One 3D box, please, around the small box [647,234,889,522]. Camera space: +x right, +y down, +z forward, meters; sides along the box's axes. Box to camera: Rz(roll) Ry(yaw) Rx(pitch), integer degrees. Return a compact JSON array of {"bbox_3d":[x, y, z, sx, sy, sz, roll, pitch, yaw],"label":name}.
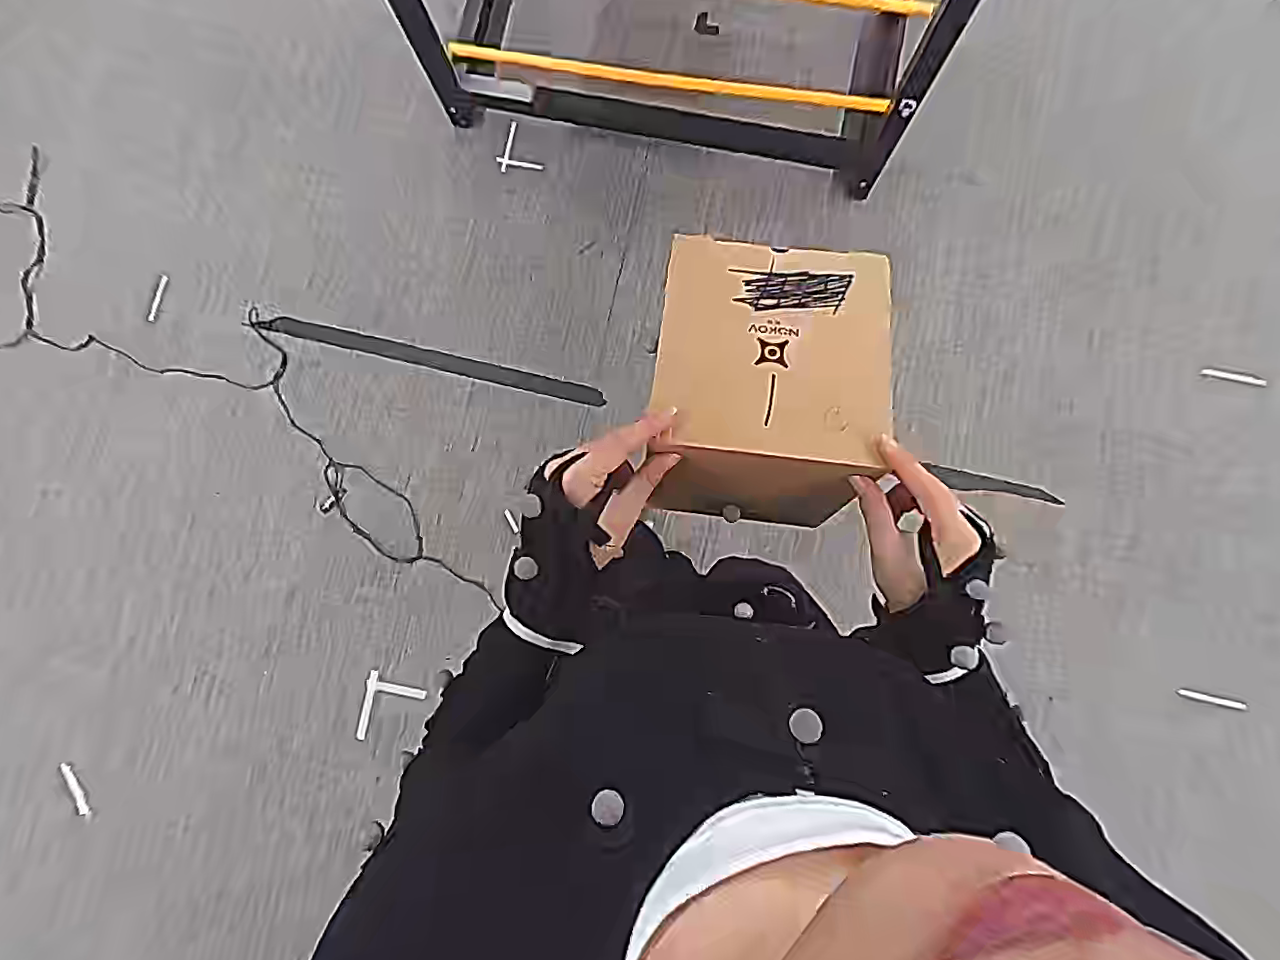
[{"bbox_3d":[0.097,-0.075,0.467,0.168,0.176,0.179,7,72,3],"label":"small box"}]
